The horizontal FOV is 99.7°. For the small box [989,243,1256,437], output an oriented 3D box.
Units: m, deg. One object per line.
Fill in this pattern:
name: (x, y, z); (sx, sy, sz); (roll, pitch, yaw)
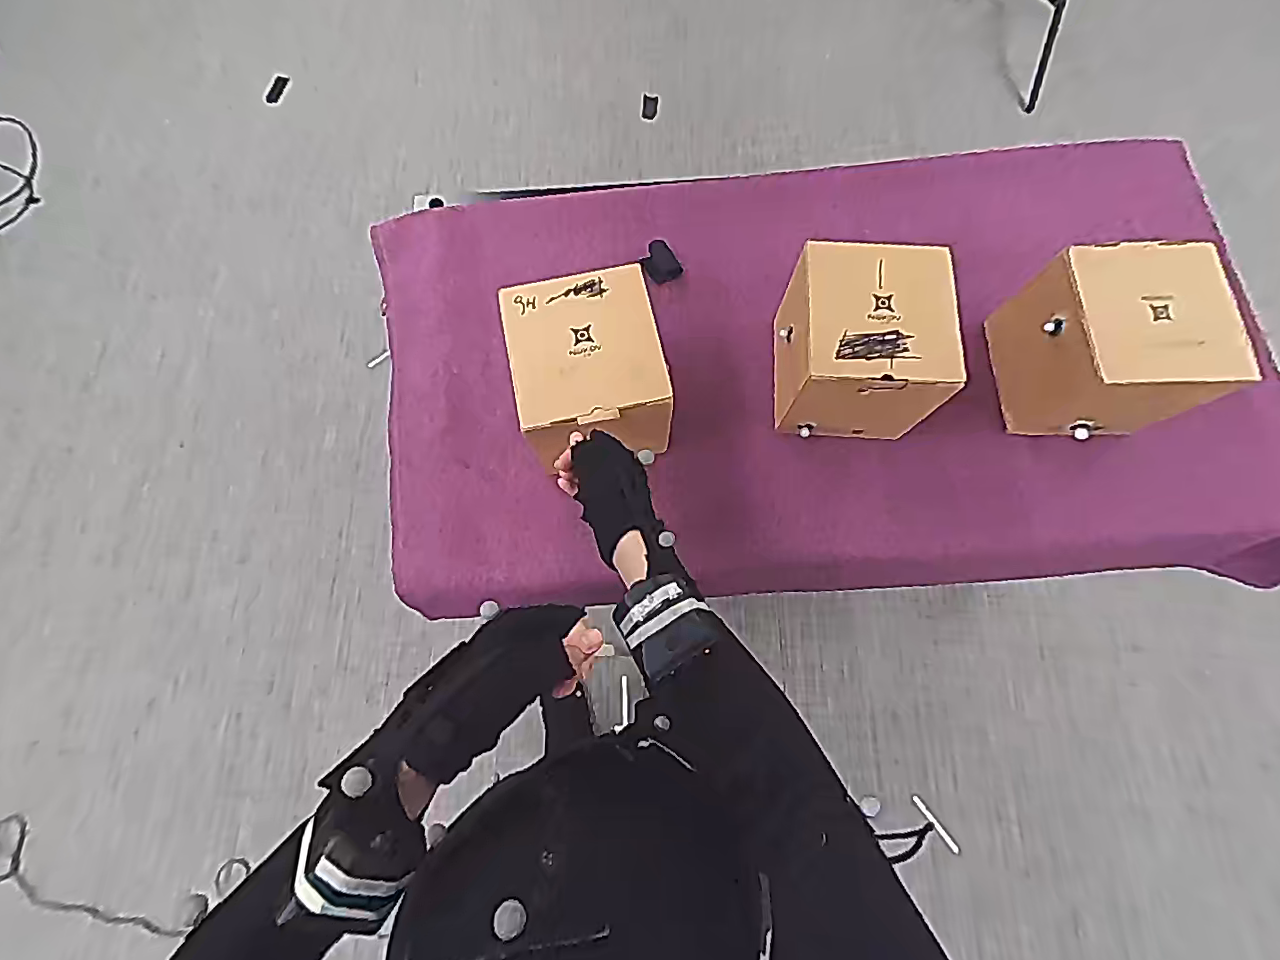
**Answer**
small box: (0.572, -0.165, 0.674); (0.168, 0.176, 0.179); (-2, 74, 2)

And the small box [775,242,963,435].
small box: (0.269, -0.166, 0.676); (0.168, 0.176, 0.179); (3, 73, 2)

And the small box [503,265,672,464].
small box: (-0.059, -0.128, 0.668); (0.168, 0.176, 0.179); (-11, 75, -3)
